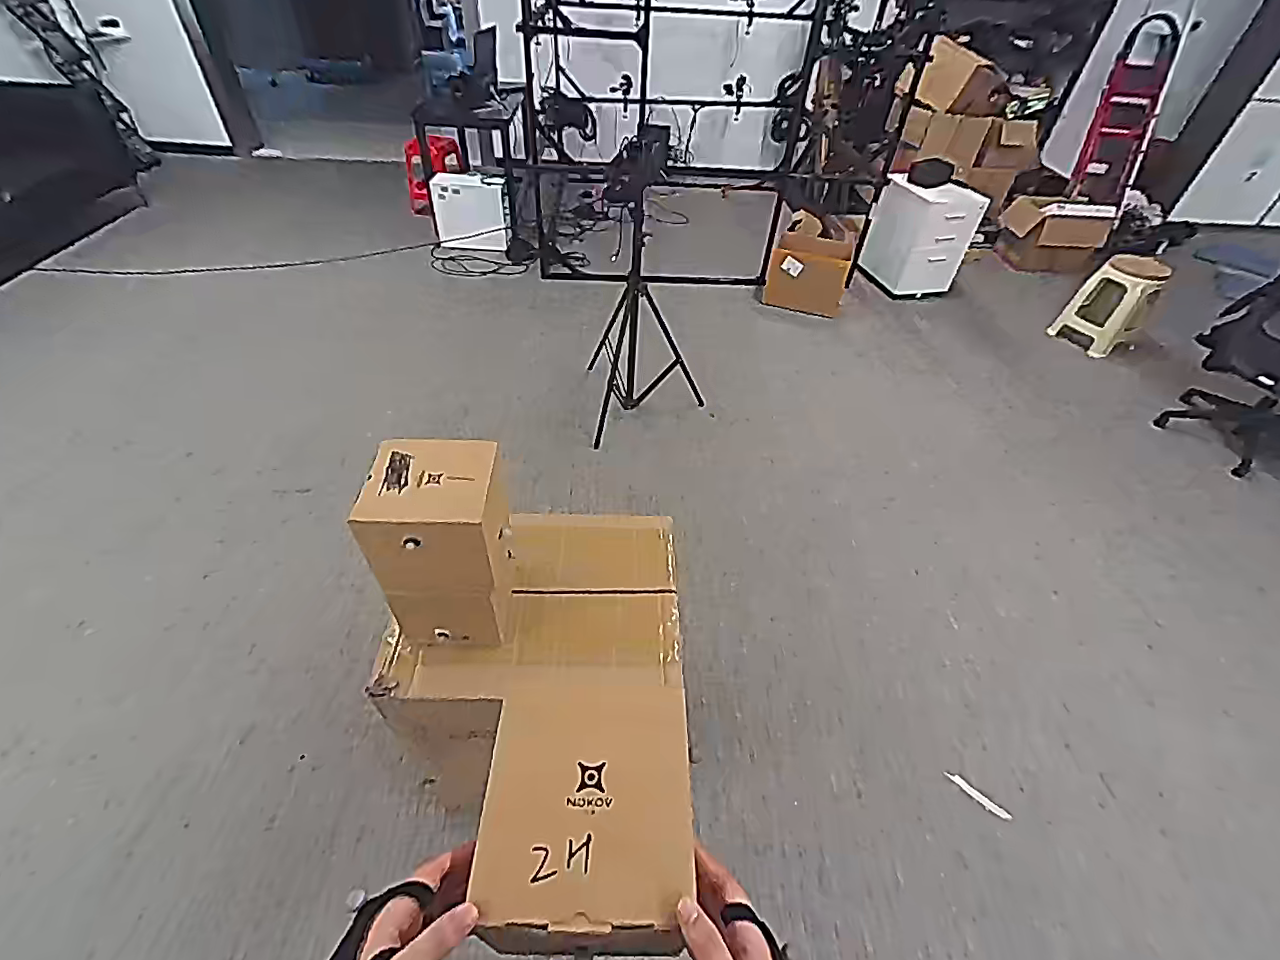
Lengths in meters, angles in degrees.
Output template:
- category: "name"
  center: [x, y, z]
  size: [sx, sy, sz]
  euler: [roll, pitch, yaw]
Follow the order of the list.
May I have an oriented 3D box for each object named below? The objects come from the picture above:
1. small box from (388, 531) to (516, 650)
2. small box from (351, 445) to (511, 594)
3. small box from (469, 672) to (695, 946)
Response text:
- category: "small box"
  center: [-0.315, 0.178, 0.950]
  size: [0.168, 0.176, 0.179]
  euler: [1, 46, -3]
- category: "small box"
  center: [-0.305, 0.063, 0.832]
  size: [0.179, 0.176, 0.168]
  euler: [1, 45, -4]
- category: "small box"
  center: [-0.043, 0.301, 0.499]
  size: [0.168, 0.176, 0.179]
  euler: [1, 43, 0]
